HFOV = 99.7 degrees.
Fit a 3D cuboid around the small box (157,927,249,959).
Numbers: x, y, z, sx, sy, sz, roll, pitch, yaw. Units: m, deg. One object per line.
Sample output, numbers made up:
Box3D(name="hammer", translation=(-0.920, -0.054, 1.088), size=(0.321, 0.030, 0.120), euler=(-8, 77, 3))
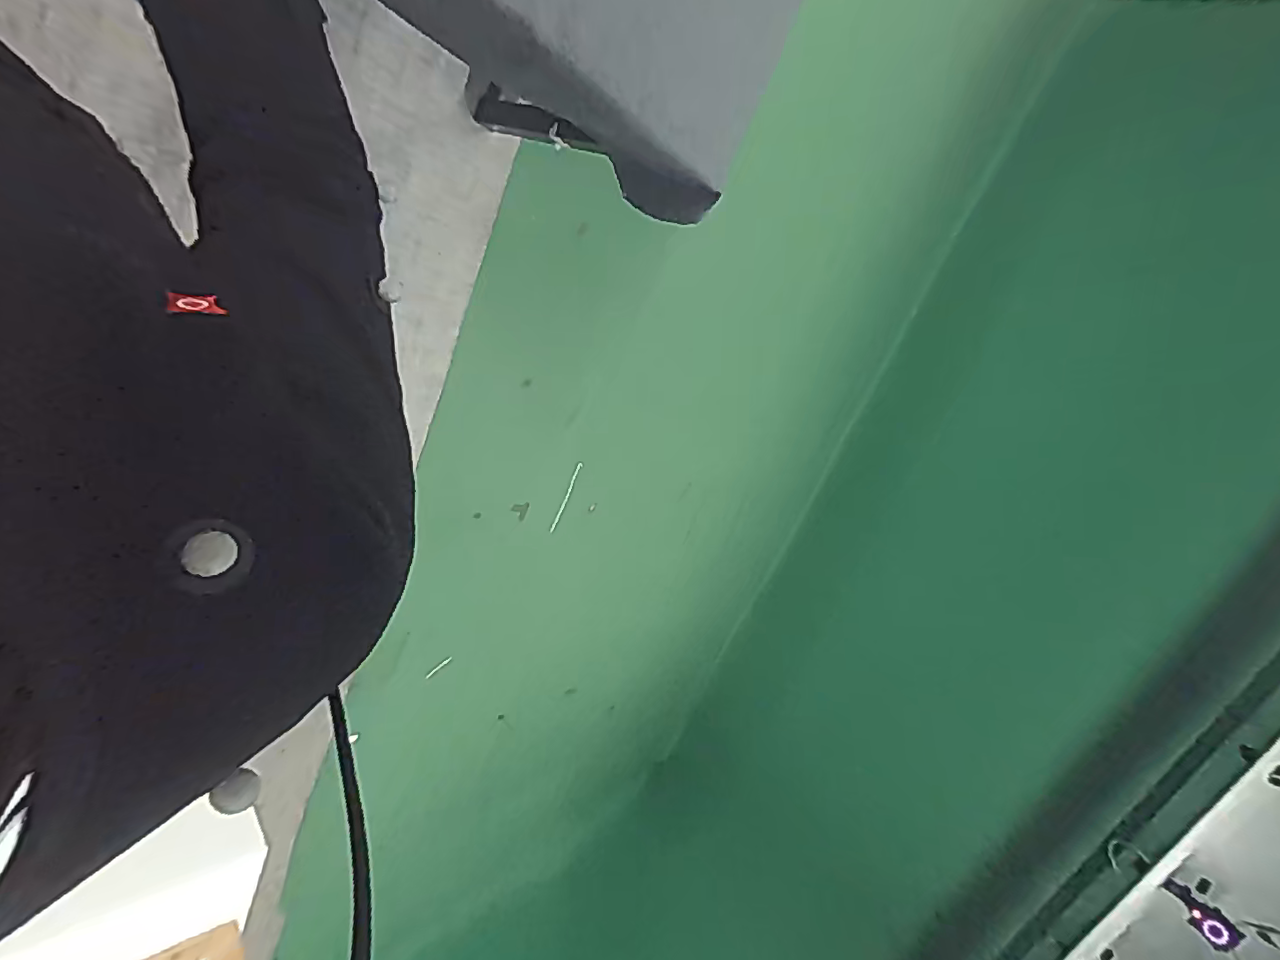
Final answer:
Box3D(name="small box", translation=(-0.867, 1.033, 1.044), size=(0.168, 0.176, 0.179), euler=(9, 110, -52))
